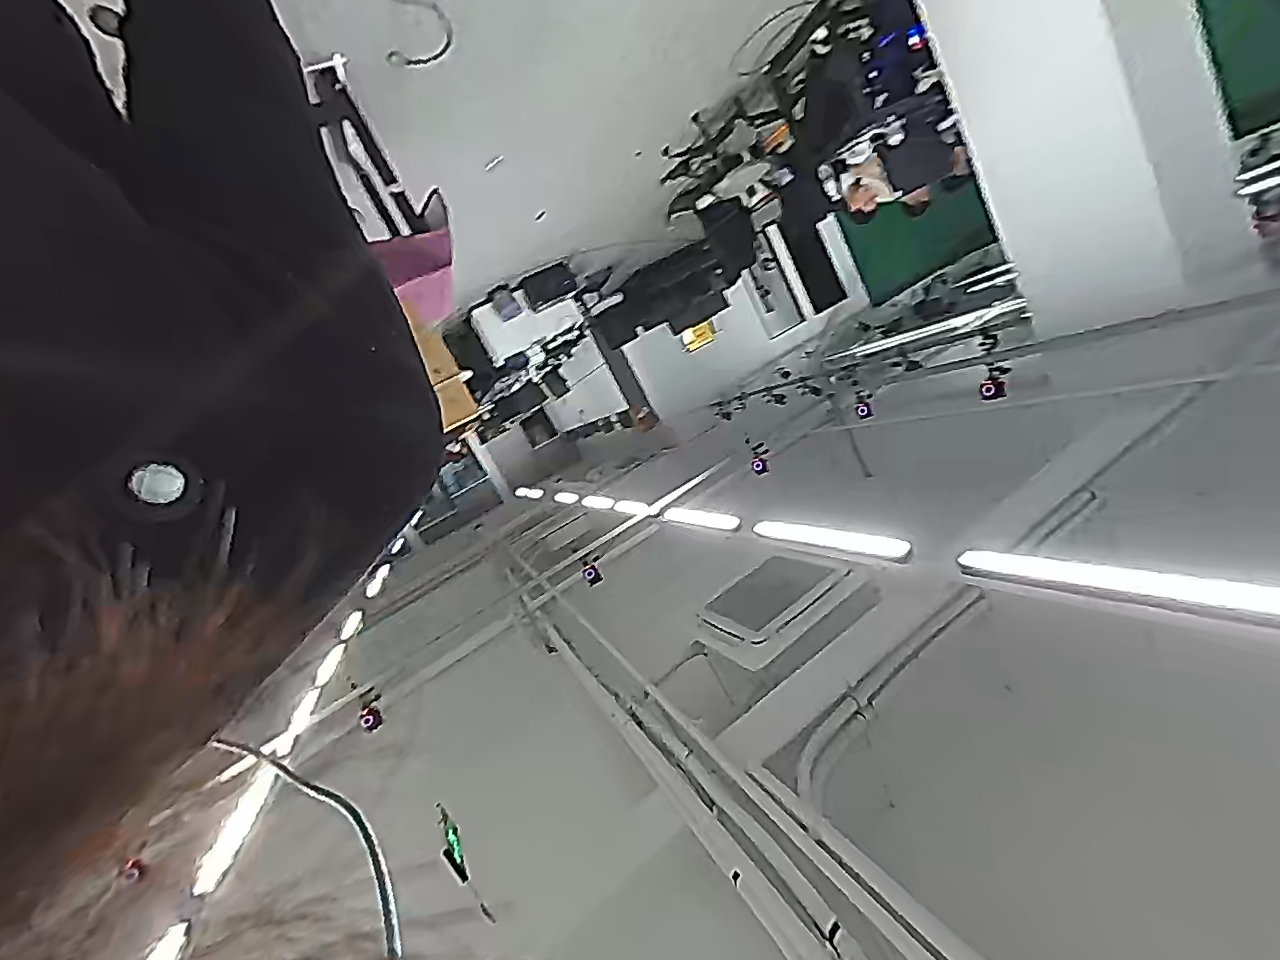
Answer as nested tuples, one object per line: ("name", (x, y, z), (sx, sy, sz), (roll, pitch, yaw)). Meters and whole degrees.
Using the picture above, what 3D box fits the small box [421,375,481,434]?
("small box", (-0.759, -0.303, 2.161), (0.168, 0.176, 0.179), (-32, -168, -19))

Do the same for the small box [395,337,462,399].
("small box", (-0.837, -0.444, 2.137), (0.179, 0.176, 0.168), (-33, -169, -26))
